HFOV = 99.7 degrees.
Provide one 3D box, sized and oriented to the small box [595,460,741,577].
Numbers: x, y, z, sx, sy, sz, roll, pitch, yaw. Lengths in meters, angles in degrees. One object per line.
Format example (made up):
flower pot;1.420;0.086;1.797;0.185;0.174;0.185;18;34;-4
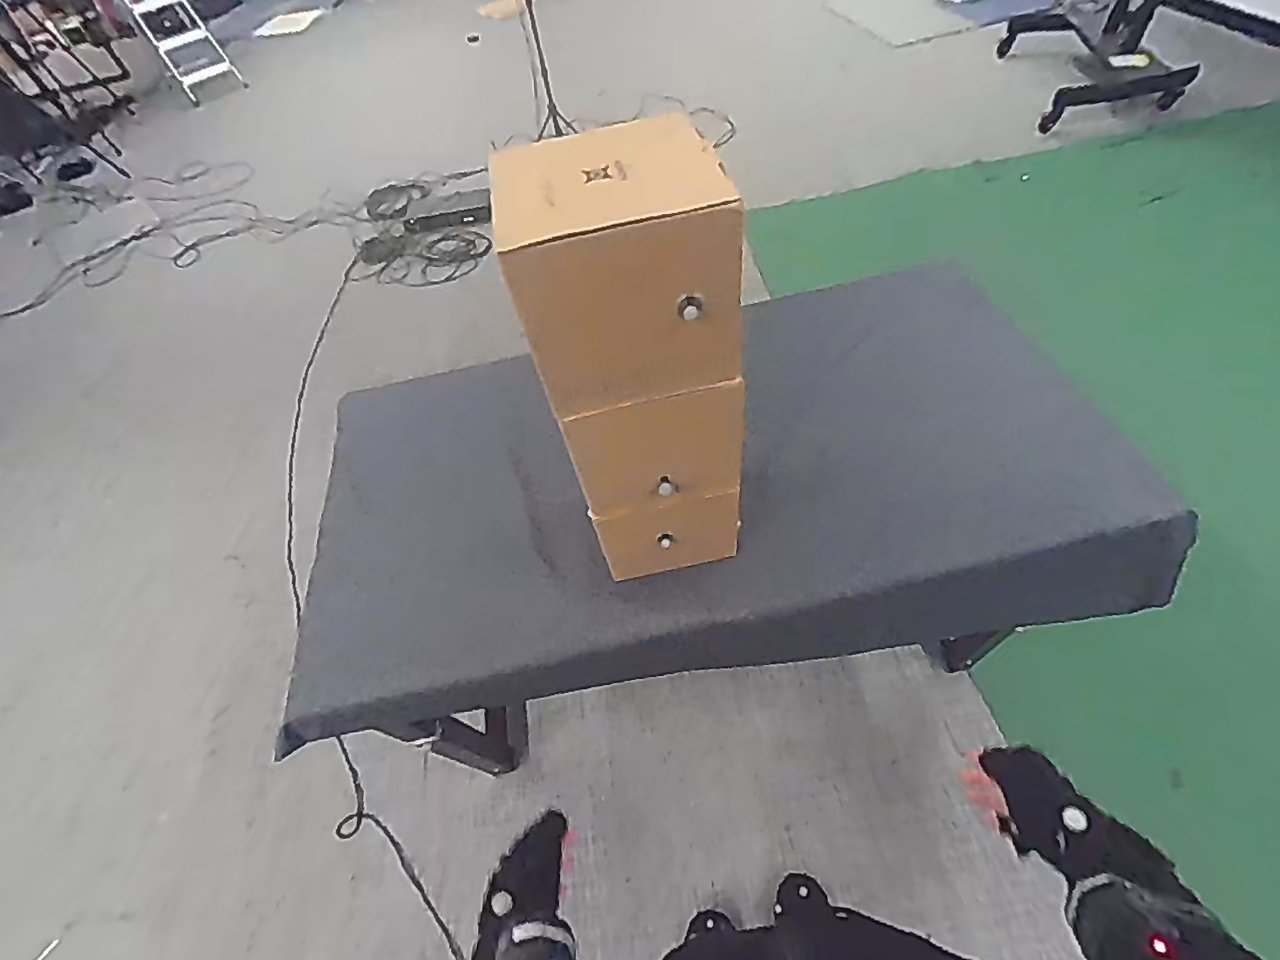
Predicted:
small box;0.024;0.011;0.738;0.179;0.176;0.168;-14;55;-3

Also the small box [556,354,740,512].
small box;0.003;-0.085;0.608;0.179;0.176;0.168;-12;54;-1

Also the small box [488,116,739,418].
small box;-0.021;-0.181;0.478;0.179;0.176;0.168;-14;53;0
